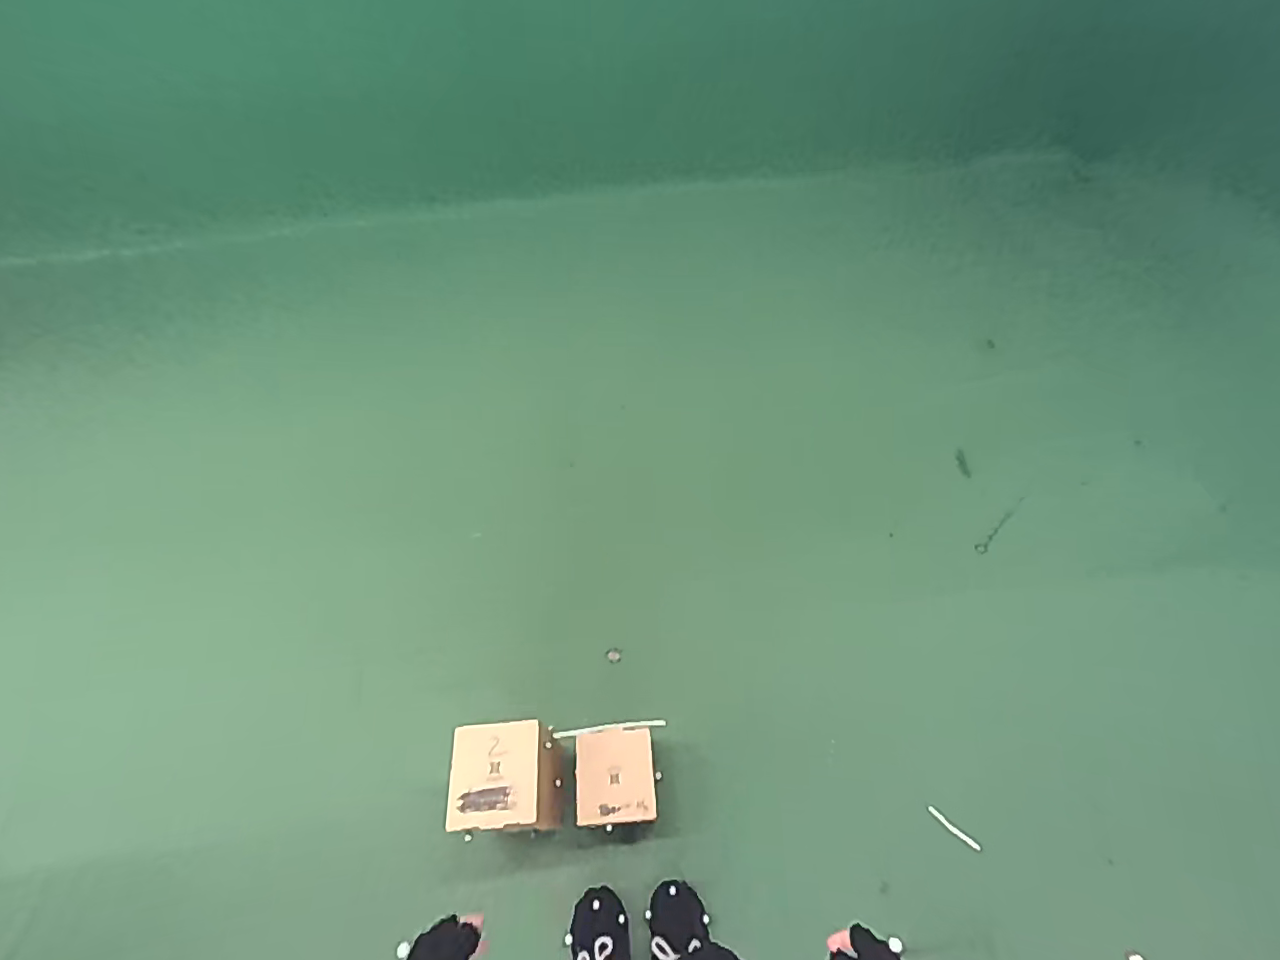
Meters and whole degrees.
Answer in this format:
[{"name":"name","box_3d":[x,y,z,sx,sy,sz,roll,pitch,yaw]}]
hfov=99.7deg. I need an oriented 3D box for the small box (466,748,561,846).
[{"name":"small box","box_3d":[-0.272,0.709,1.209,0.168,0.176,0.179,-3,55,0]}]
